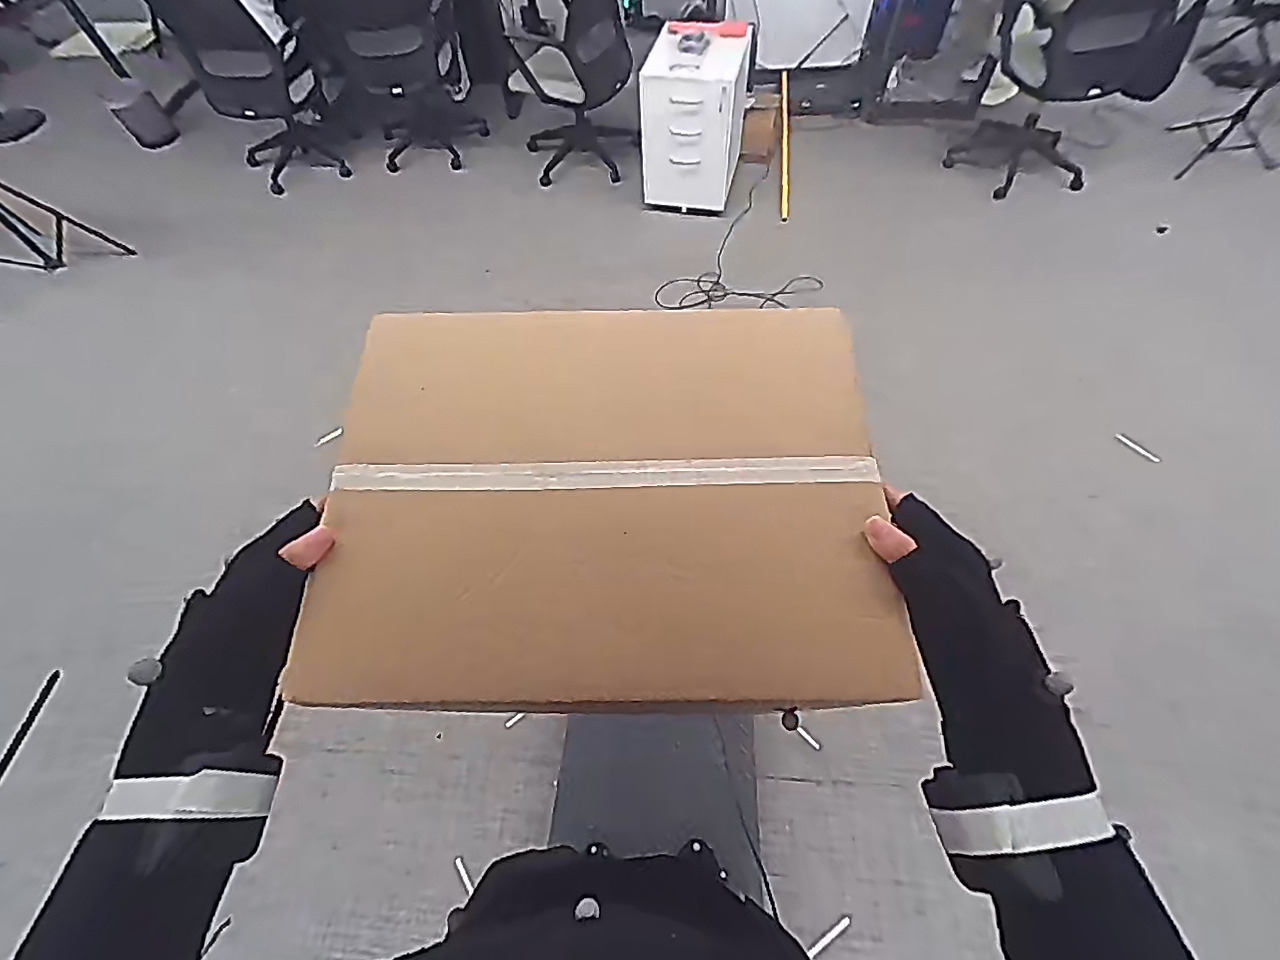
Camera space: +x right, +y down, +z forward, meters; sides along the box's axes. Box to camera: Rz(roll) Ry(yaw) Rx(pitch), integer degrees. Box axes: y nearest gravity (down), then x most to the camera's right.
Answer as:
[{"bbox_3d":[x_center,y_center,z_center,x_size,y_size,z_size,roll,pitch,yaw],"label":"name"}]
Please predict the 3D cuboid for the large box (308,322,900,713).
[{"bbox_3d":[-0.023,0.066,0.552,0.408,0.320,0.320,-1,65,1],"label":"large box"}]
